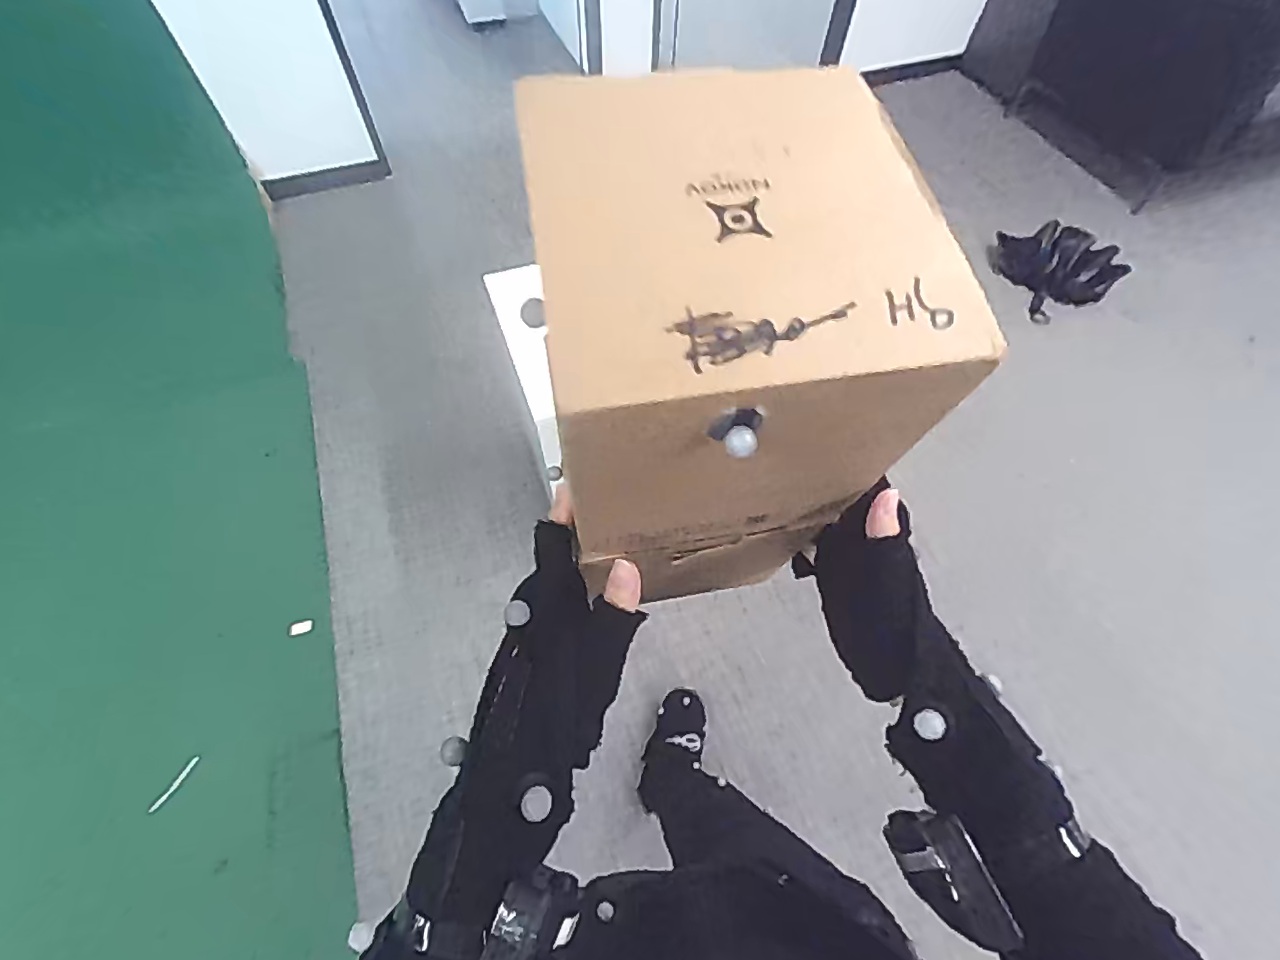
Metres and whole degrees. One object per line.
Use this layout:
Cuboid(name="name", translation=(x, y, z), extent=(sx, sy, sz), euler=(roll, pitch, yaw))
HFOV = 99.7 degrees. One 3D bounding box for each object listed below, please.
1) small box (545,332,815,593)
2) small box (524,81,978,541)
Cuboid(name="small box", translation=(0.021, -0.013, 0.452), extent=(0.168, 0.176, 0.179), euler=(-9, 66, -6))
Cuboid(name="small box", translation=(0.033, -0.083, 0.306), extent=(0.168, 0.176, 0.179), euler=(-8, 66, -6))
